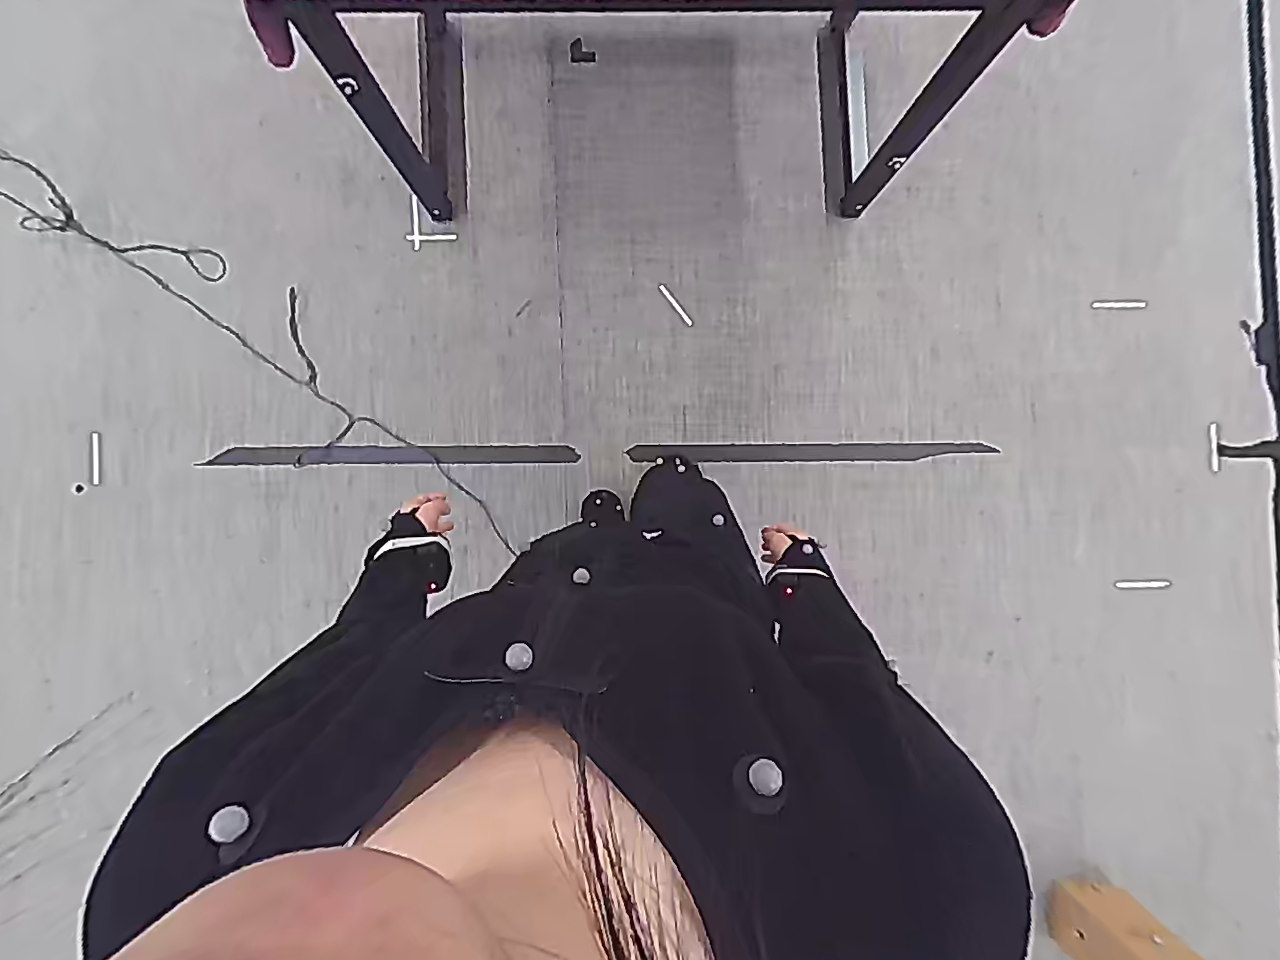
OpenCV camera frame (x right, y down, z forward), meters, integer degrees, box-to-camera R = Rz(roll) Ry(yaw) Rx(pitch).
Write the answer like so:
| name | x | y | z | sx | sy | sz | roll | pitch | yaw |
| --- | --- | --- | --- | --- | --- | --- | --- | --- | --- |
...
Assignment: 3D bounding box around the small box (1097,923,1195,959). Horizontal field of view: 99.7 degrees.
| name | x | y | z | sx | sy | sz | roll | pitch | yaw |
| --- | --- | --- | --- | --- | --- | --- | --- | --- | --- |
| small box | 1.243 | 1.218 | 1.295 | 0.168 | 0.176 | 0.179 | 3 | 89 | -3 |
